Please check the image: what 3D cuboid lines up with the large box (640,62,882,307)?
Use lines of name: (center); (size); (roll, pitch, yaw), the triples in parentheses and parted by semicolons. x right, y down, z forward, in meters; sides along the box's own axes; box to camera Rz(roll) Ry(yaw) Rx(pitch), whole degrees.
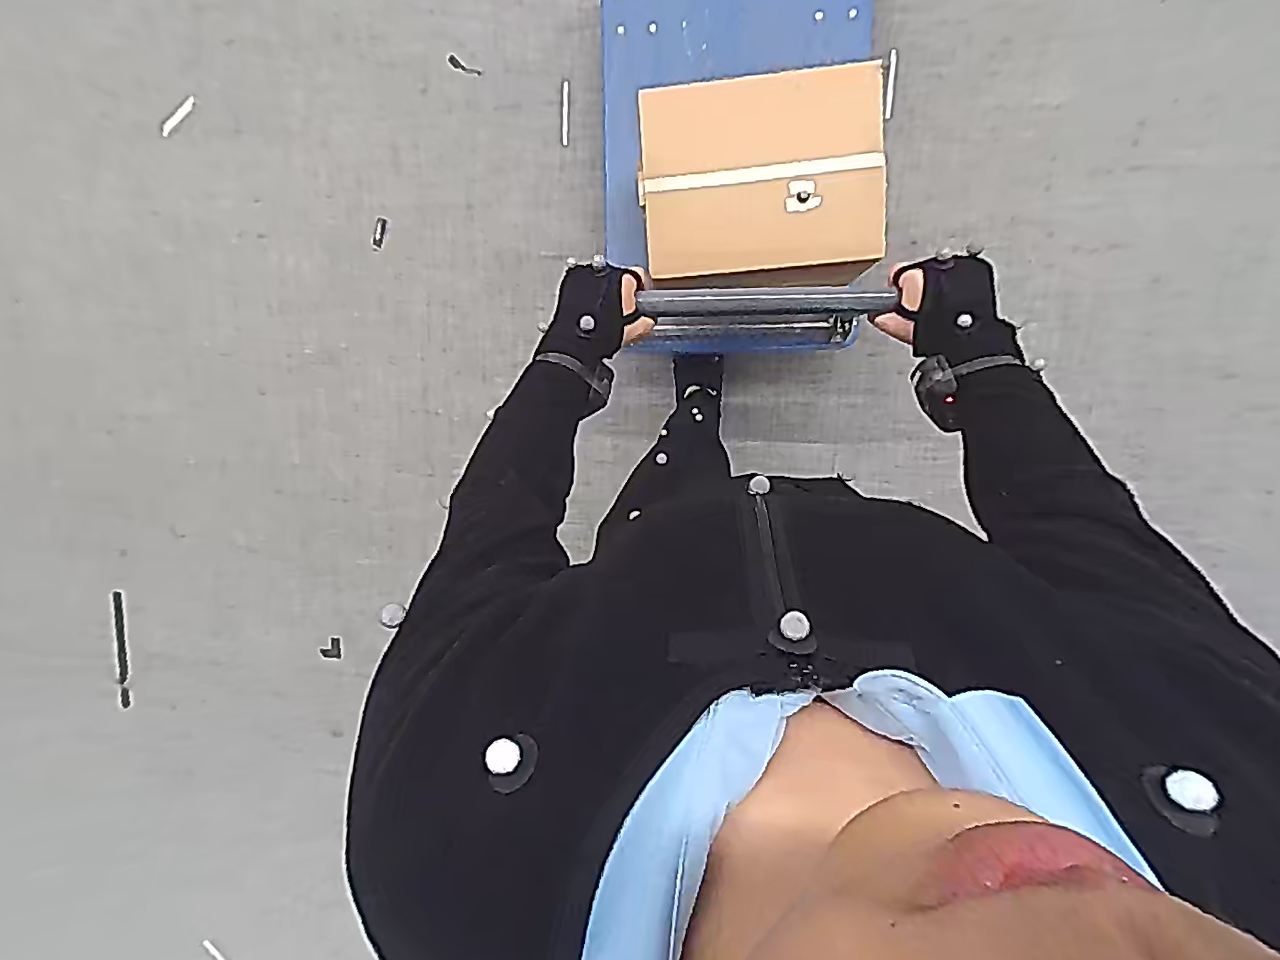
large box: (0.220, -0.549, 1.080); (0.408, 0.320, 0.320); (-4, 98, 5)
